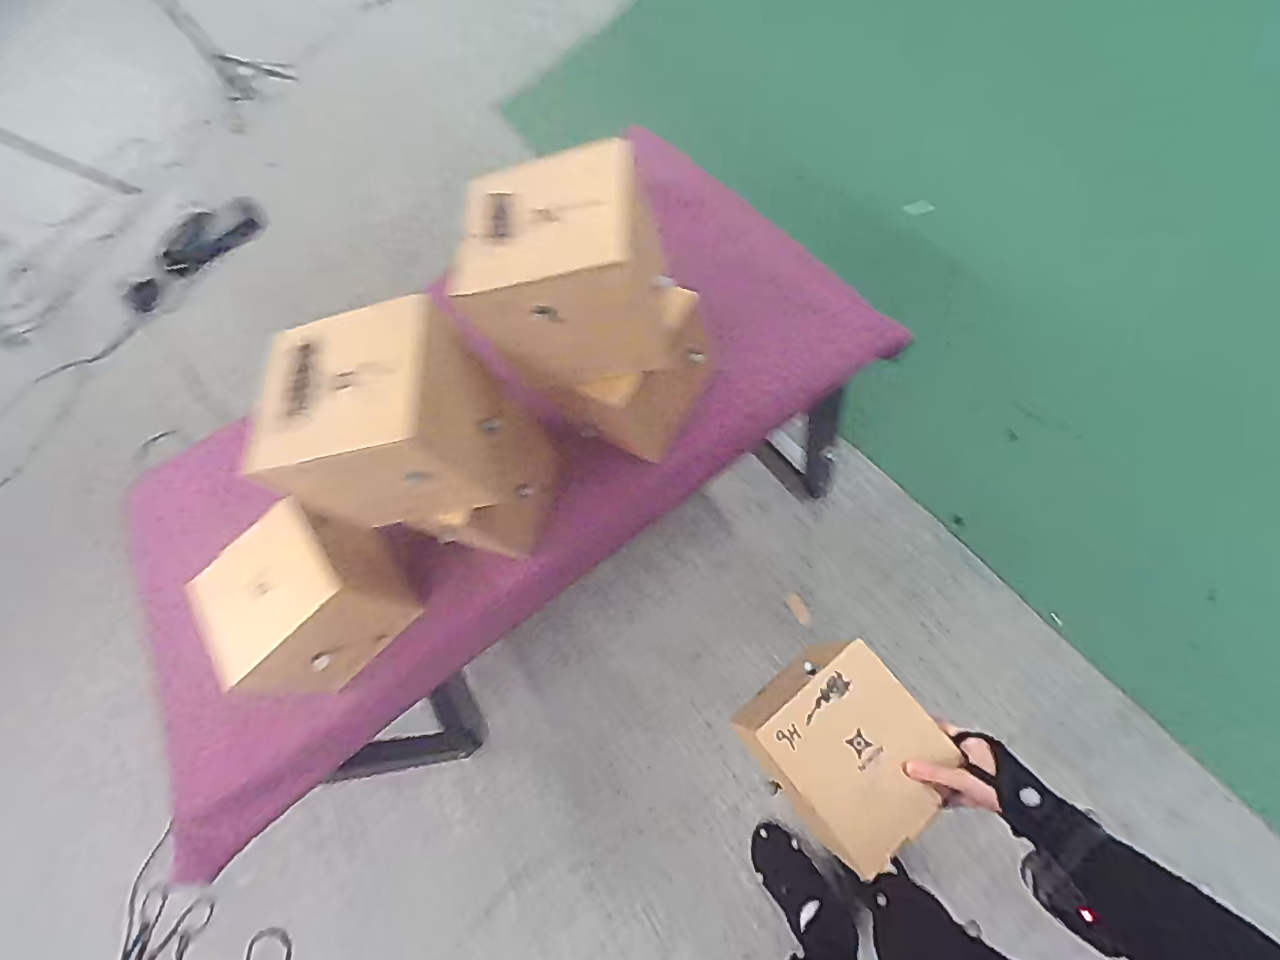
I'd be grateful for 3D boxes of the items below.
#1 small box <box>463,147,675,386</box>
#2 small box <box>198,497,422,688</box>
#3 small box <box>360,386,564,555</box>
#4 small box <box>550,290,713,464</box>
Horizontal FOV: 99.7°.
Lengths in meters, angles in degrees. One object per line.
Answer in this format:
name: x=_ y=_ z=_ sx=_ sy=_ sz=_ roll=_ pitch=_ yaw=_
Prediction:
small box: x=-0.065 y=-0.222 z=0.604 sx=0.179 sy=0.176 sz=0.168 roll=-6 pitch=65 yaw=15
small box: x=-0.436 y=0.158 z=0.734 sx=0.168 sy=0.176 sz=0.179 roll=-43 pitch=62 yaw=-4
small box: x=-0.228 y=-0.006 z=0.742 sx=0.179 sy=0.176 sz=0.168 roll=11 pitch=71 yaw=20
small box: x=-0.013 y=-0.153 z=0.743 sx=0.168 sy=0.176 sz=0.179 roll=28 pitch=78 yaw=26
